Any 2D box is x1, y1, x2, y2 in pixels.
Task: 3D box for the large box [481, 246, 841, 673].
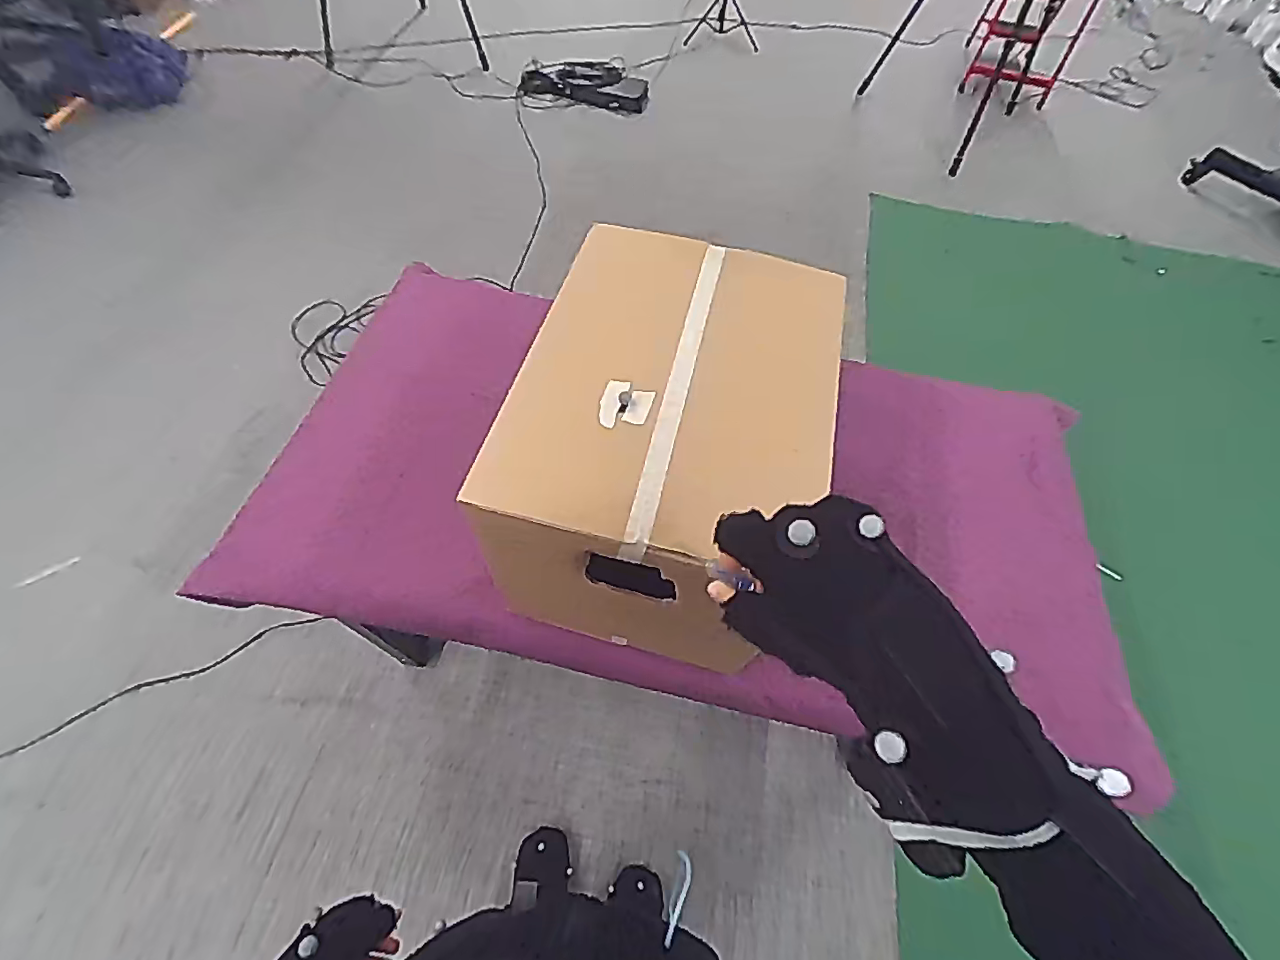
[{"bbox_3d":[0.039,-0.018,0.694,0.320,0.320,0.408,14,59,5],"label":"large box"}]
